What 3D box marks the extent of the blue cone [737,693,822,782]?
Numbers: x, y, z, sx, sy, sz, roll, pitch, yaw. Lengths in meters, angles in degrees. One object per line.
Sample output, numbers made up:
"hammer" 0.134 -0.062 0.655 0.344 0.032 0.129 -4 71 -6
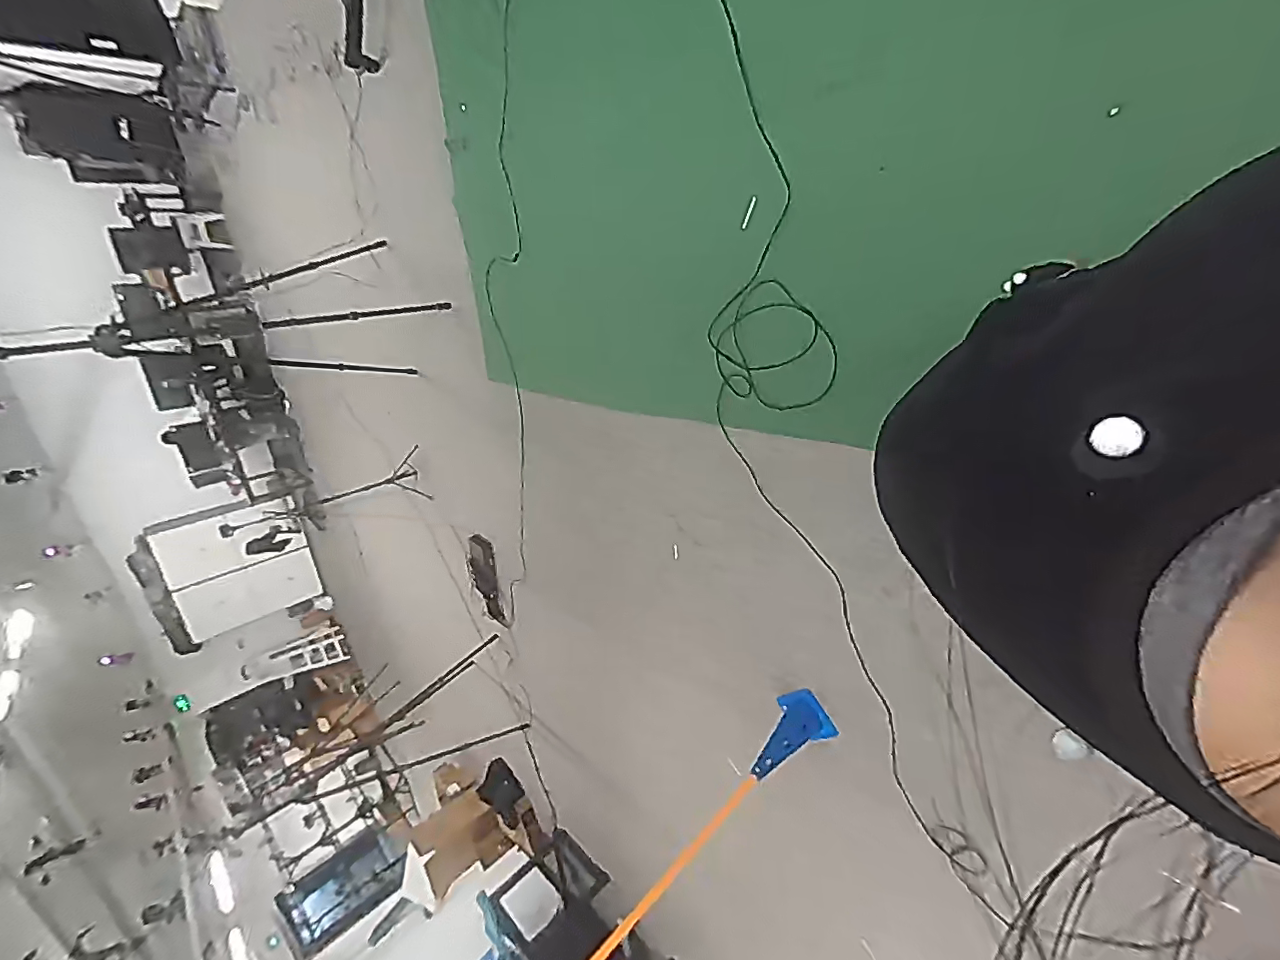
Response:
"blue cone" 0.488 0.983 1.997 0.192 0.380 0.193 55 140 11
